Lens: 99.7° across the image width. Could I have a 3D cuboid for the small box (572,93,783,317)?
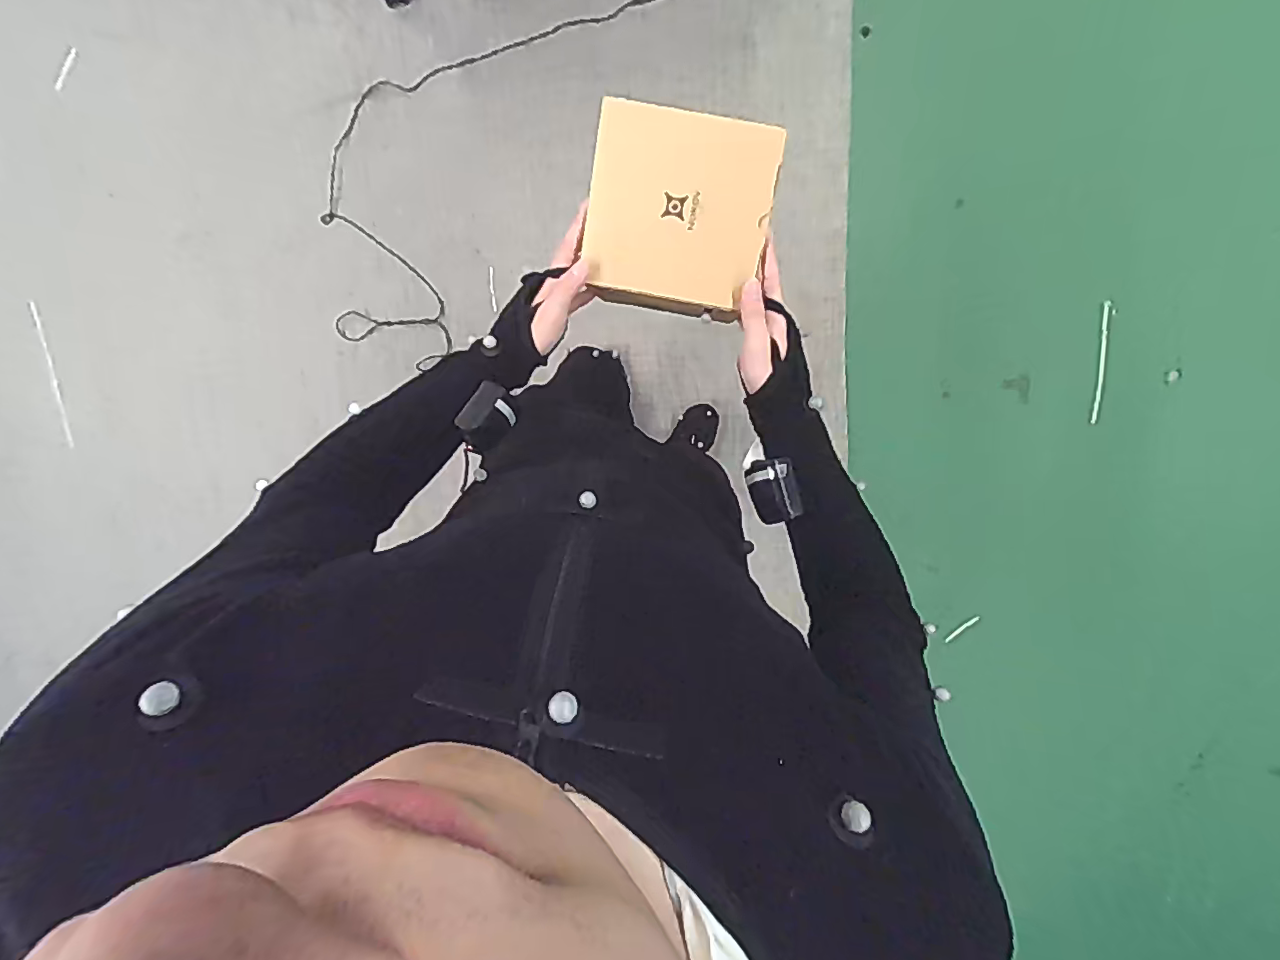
[{"bbox_3d":[0.035,-0.278,0.587,0.179,0.176,0.168,10,102,-1],"label":"small box"}]
